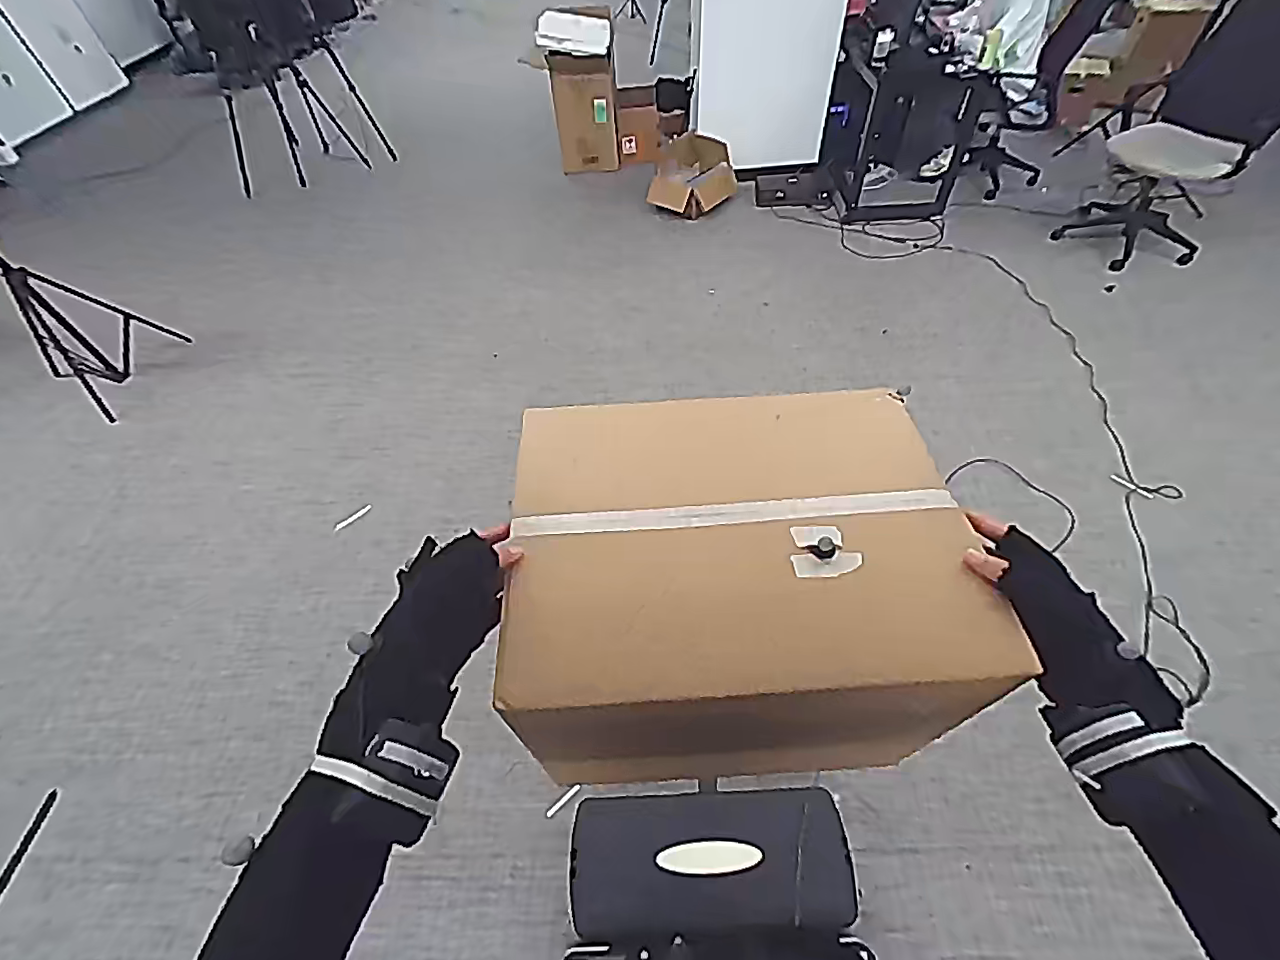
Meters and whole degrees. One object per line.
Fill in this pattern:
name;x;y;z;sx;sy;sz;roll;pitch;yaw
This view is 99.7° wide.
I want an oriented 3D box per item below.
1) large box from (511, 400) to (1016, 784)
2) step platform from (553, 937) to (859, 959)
large box;0.089;0.134;0.621;0.408;0.320;0.320;-3;52;-2
step platform;0.137;1.129;1.098;0.684;0.204;0.286;-5;51;2
